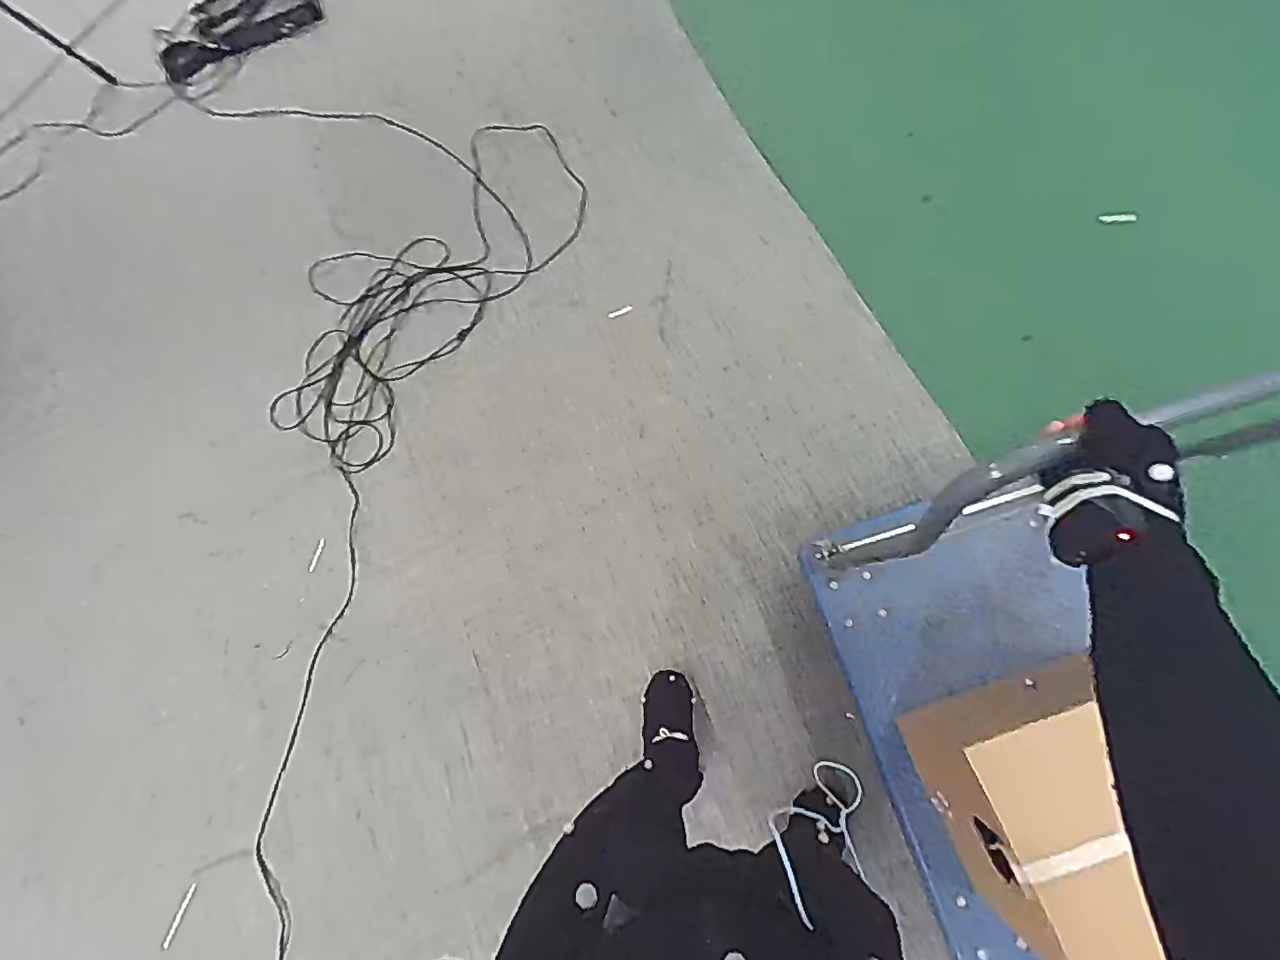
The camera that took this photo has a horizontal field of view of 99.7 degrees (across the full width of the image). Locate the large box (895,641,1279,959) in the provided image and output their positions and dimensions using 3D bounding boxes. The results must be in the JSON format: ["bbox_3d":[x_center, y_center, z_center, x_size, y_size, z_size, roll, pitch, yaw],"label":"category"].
[{"bbox_3d":[0.702,0.478,0.851,0.408,0.320,0.320,-22,73,0],"label":"large box"}]
